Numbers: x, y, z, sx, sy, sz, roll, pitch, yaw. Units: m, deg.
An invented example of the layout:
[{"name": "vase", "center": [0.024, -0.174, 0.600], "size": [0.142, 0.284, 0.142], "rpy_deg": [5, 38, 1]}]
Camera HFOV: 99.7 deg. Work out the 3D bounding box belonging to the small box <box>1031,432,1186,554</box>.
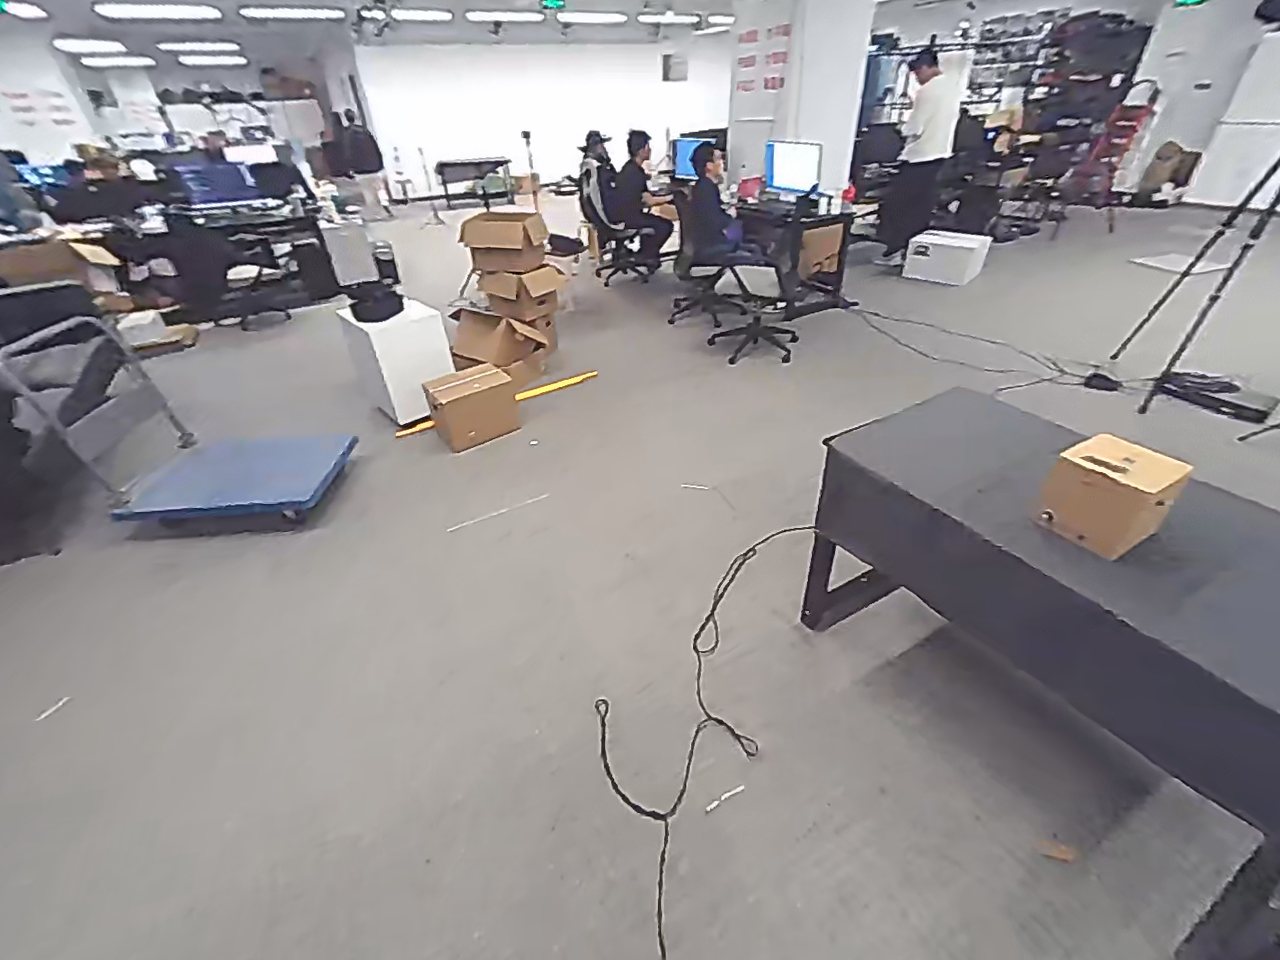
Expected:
[{"name": "small box", "center": [0.961, 0.026, 1.128], "size": [0.179, 0.176, 0.168], "rpy_deg": [-19, 38, -23]}]
